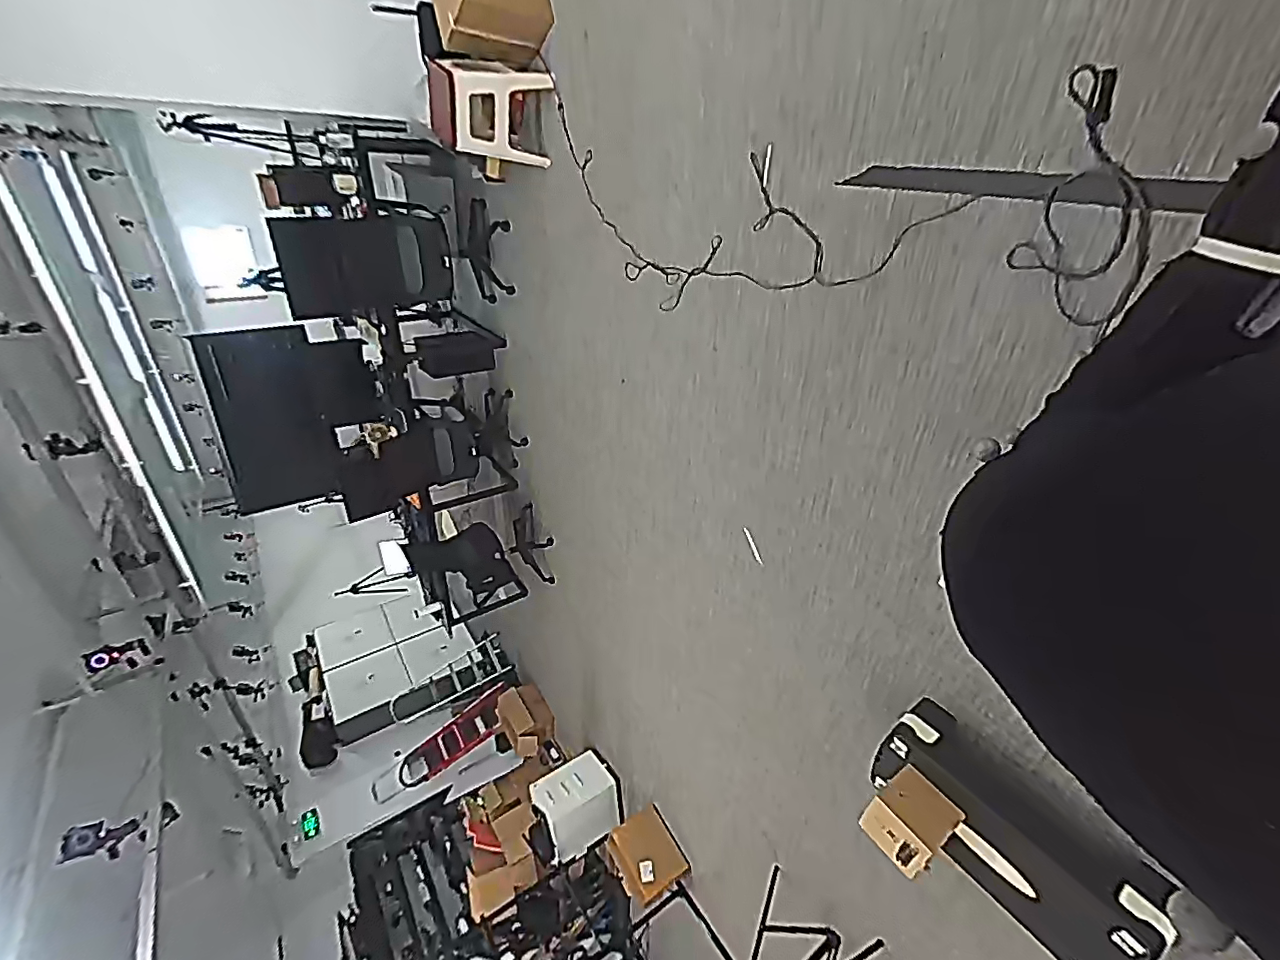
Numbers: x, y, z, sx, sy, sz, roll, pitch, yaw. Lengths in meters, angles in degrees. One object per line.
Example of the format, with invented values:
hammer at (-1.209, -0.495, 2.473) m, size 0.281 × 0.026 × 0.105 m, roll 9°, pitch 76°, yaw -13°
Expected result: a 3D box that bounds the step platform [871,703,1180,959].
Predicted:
step platform at (0.992, 0.973, 1.495) m, size 0.684 × 0.204 × 0.286 m, roll 36°, pitch 135°, yaw 44°
